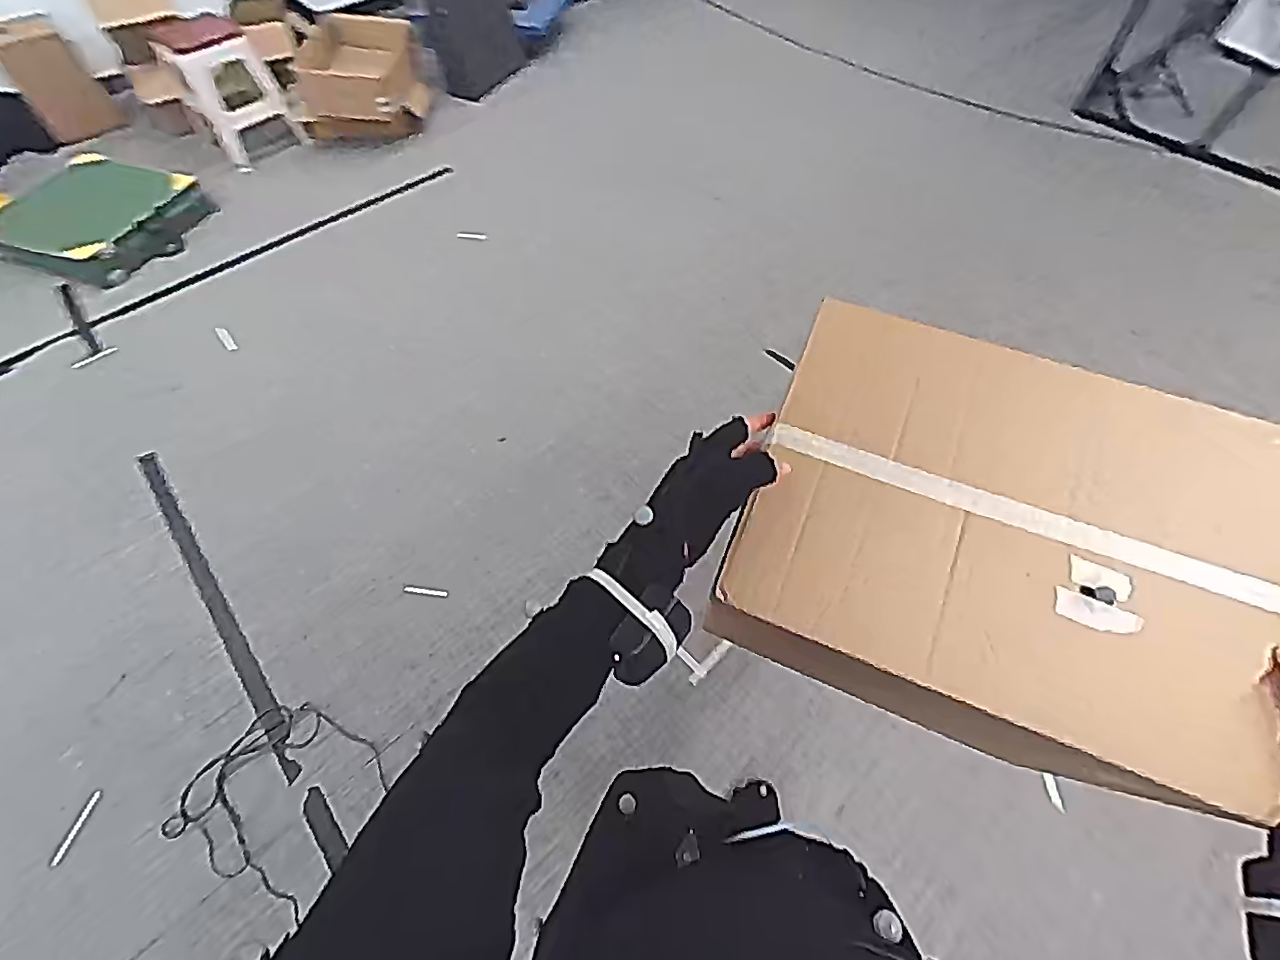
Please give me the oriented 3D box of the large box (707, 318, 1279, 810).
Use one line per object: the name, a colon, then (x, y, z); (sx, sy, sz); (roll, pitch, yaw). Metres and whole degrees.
large box: (0.316, 0.085, 0.595); (0.408, 0.320, 0.320); (20, 74, 11)
